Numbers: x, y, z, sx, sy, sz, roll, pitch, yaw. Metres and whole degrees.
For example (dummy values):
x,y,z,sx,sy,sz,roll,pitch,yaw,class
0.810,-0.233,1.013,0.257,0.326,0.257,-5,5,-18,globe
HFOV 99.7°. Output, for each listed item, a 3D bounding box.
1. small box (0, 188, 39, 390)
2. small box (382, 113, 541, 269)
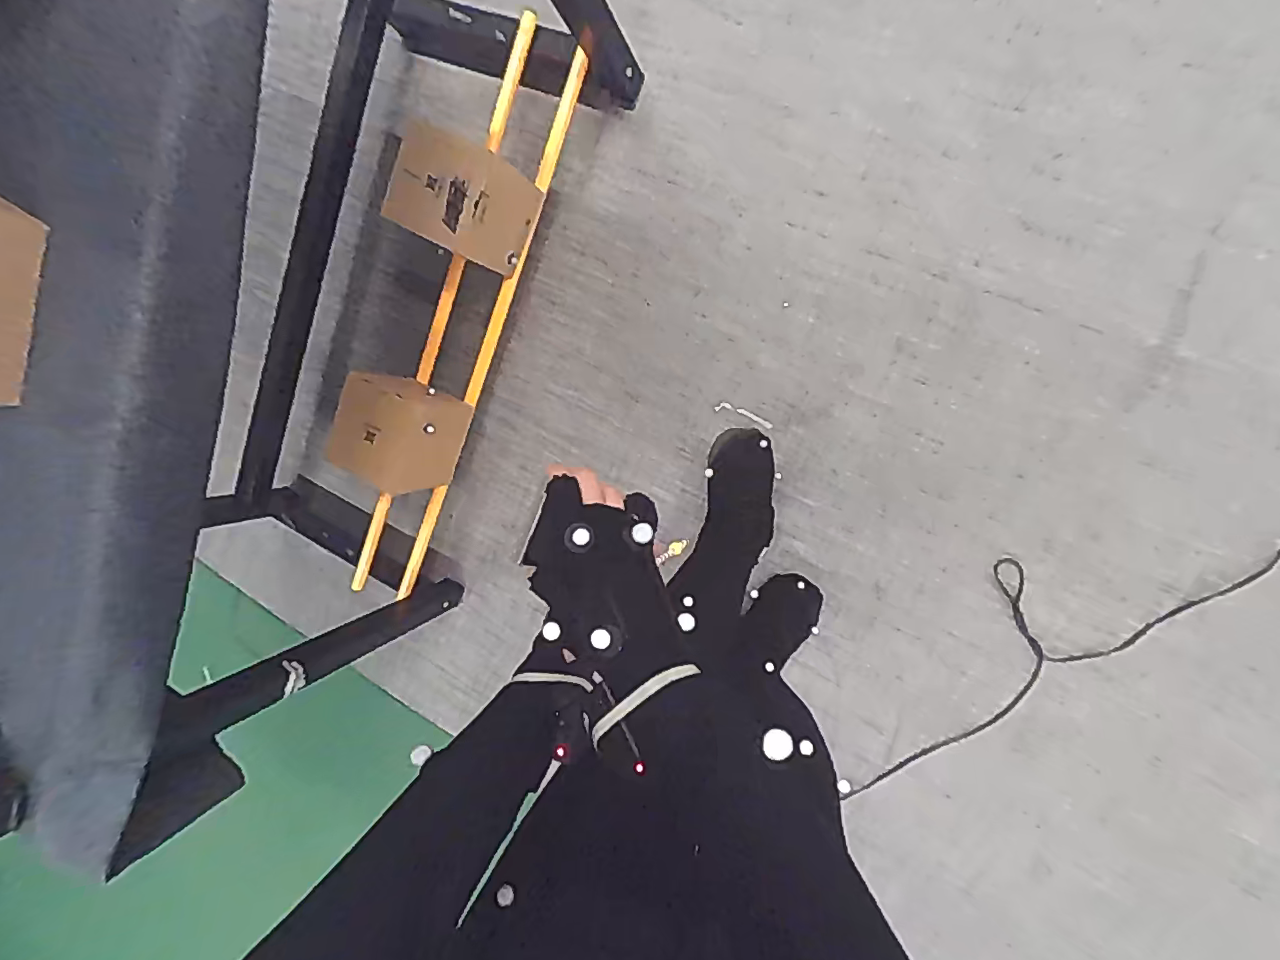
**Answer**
x,y,z,sx,sy,sz,roll,pitch,yaw,class
-0.642,-0.181,0.429,0.168,0.176,0.179,29,104,13,small box
-0.302,-0.487,0.943,0.179,0.176,0.168,29,104,12,small box
